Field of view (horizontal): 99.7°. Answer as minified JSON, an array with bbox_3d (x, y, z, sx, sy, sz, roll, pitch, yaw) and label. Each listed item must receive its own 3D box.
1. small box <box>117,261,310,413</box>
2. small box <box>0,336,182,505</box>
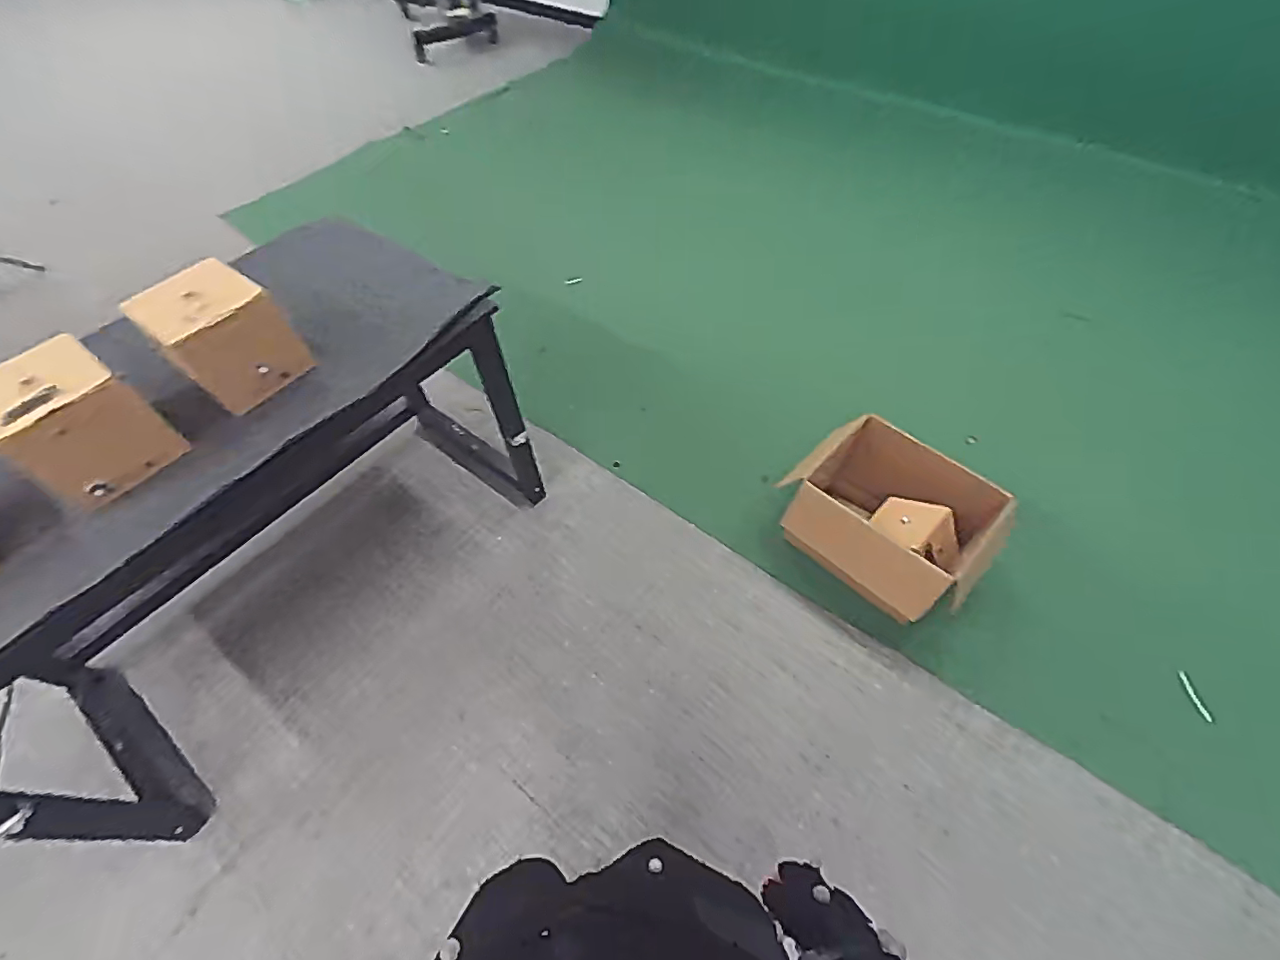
[{"bbox_3d":[-0.736,-0.248,0.951,0.179,0.176,0.168,31,62,20],"label":"small box"},{"bbox_3d":[-0.880,-0.085,0.843,0.179,0.176,0.168,32,62,22],"label":"small box"}]
